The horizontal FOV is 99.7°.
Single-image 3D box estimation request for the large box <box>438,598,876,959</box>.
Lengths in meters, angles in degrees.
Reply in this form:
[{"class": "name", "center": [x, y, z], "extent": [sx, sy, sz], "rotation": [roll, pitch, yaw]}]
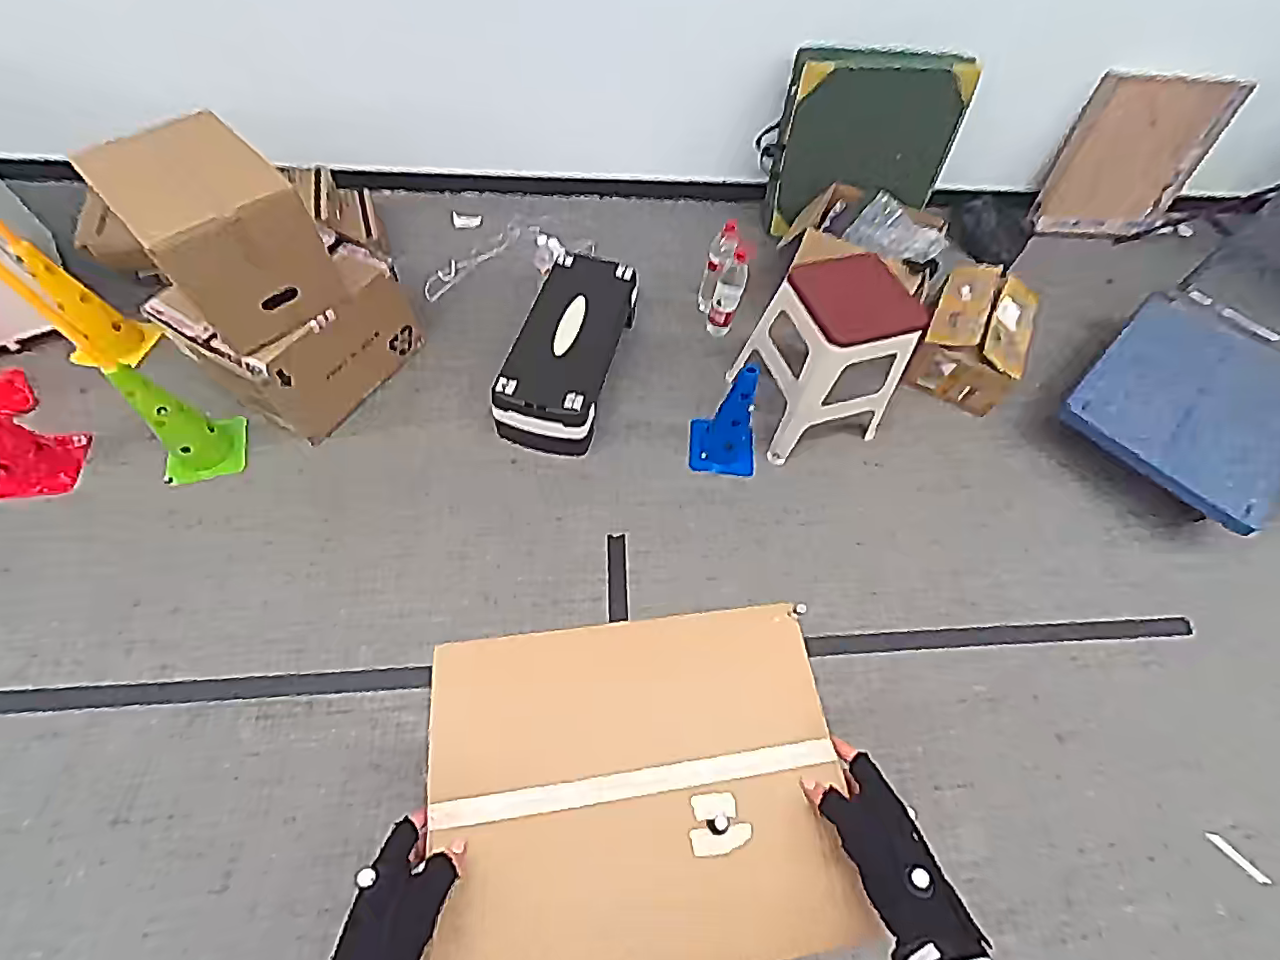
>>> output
[{"class": "large box", "center": [-0.011, 0.363, 0.669], "extent": [0.408, 0.320, 0.320], "rotation": [-5, 63, -9]}]
